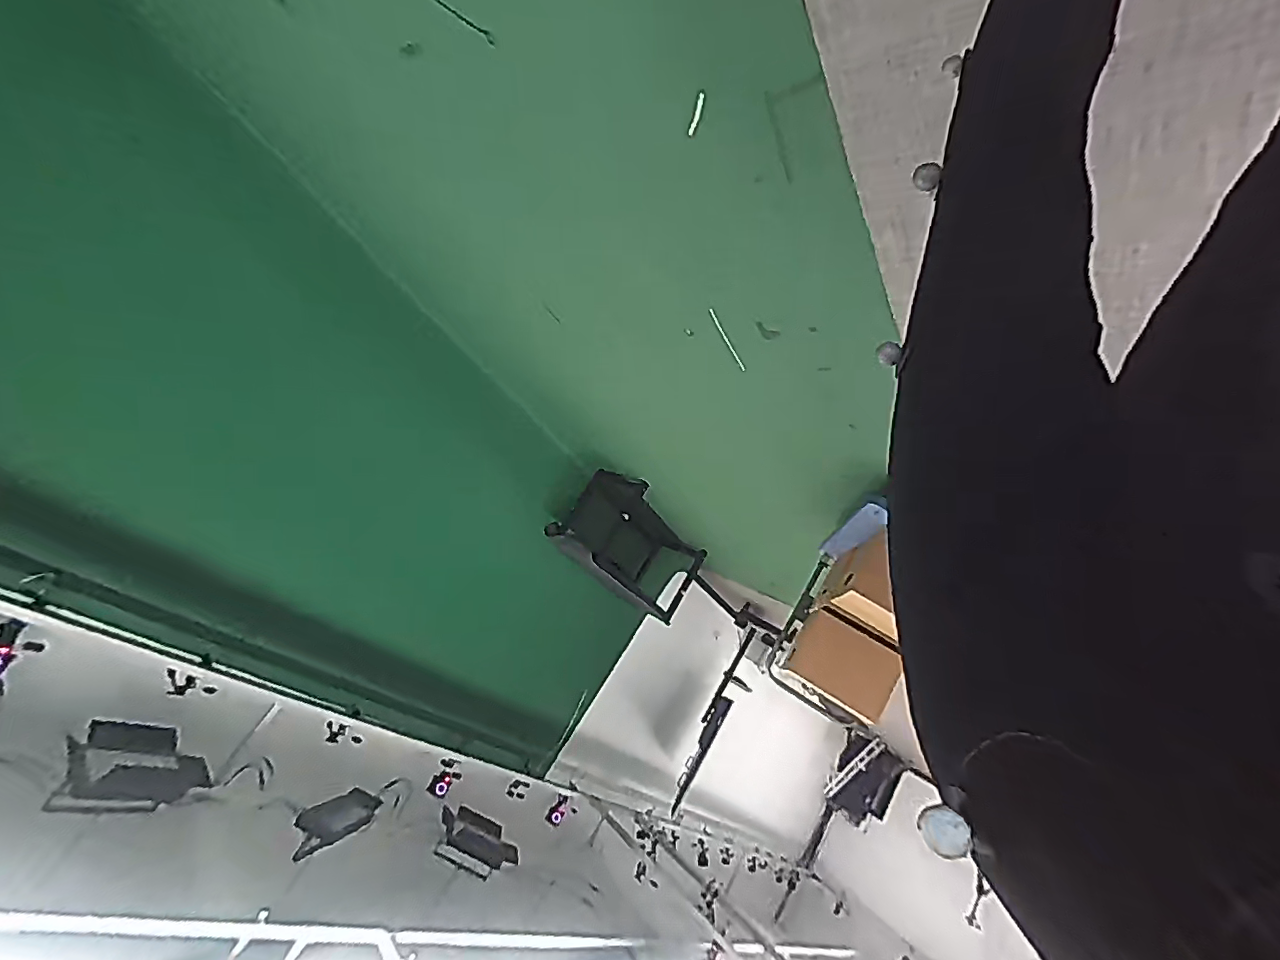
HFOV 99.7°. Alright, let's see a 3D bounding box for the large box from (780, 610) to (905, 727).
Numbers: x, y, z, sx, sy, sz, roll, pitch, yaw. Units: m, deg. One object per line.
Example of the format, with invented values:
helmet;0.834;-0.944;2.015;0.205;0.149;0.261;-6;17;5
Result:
large box;0.899;0.836;2.434;0.408;0.320;0.320;31;169;17
